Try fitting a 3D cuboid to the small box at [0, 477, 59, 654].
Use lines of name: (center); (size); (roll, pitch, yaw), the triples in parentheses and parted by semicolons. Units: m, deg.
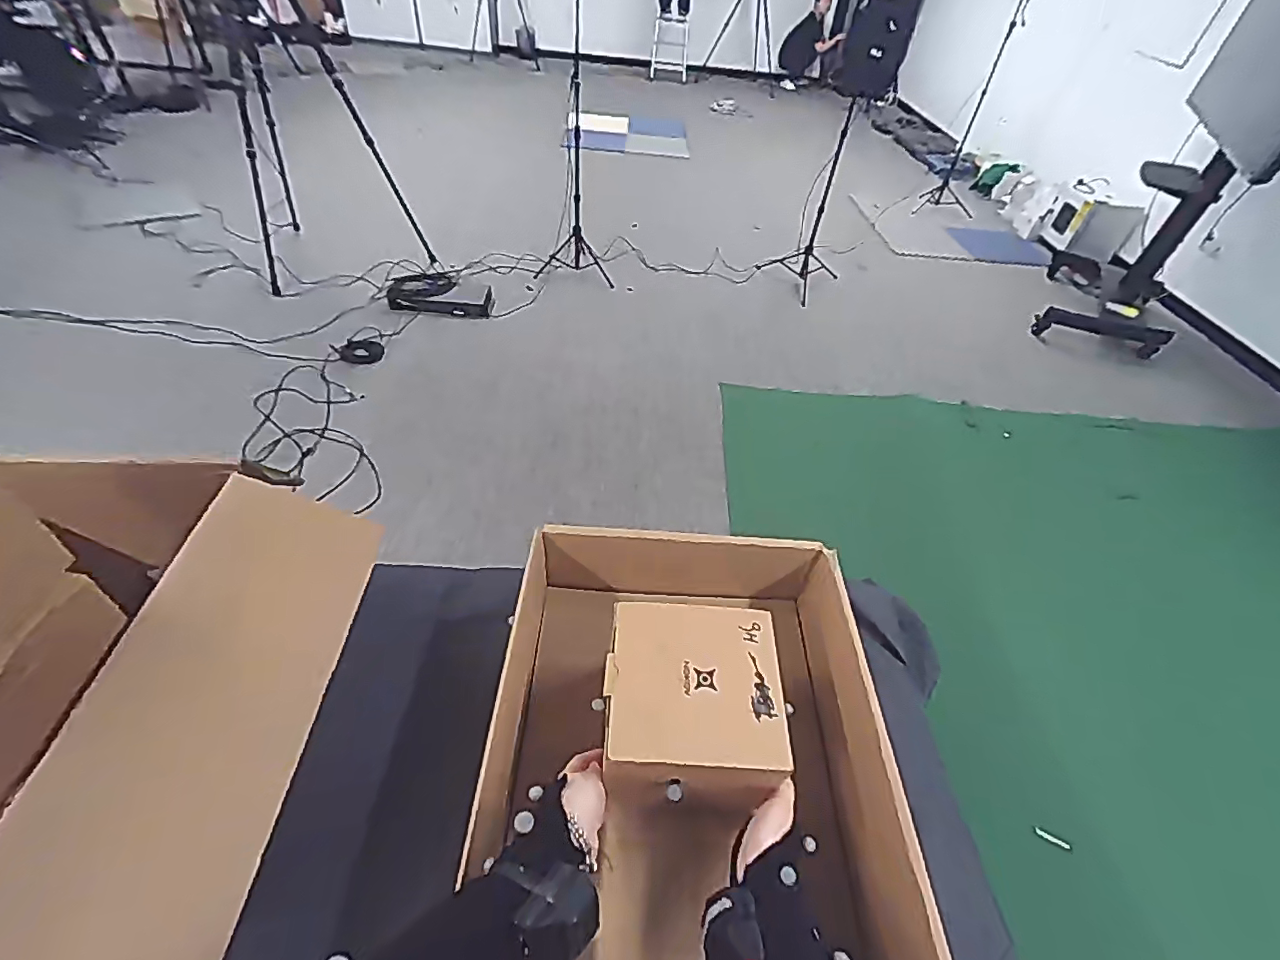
small box: (-0.518, 0.062, 0.316); (0.168, 0.176, 0.179); (6, 45, -8)
